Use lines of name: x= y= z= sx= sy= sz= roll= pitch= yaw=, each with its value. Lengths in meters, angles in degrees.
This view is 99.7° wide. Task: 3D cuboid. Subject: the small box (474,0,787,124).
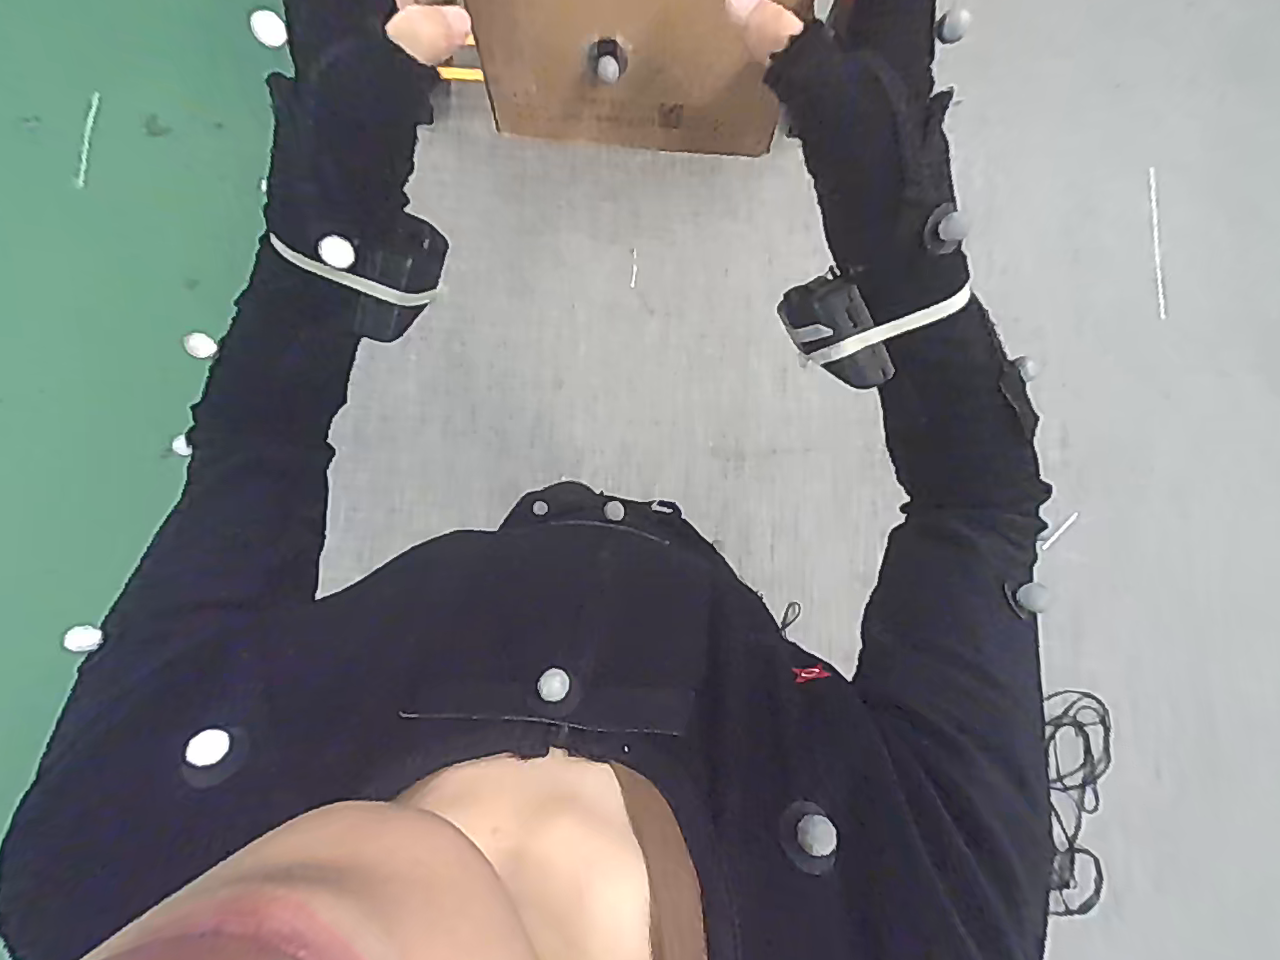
small box: x=-0.003 y=-0.325 z=0.270 sx=0.168 sy=0.176 sz=0.179 roll=3 pitch=76 yaw=0
